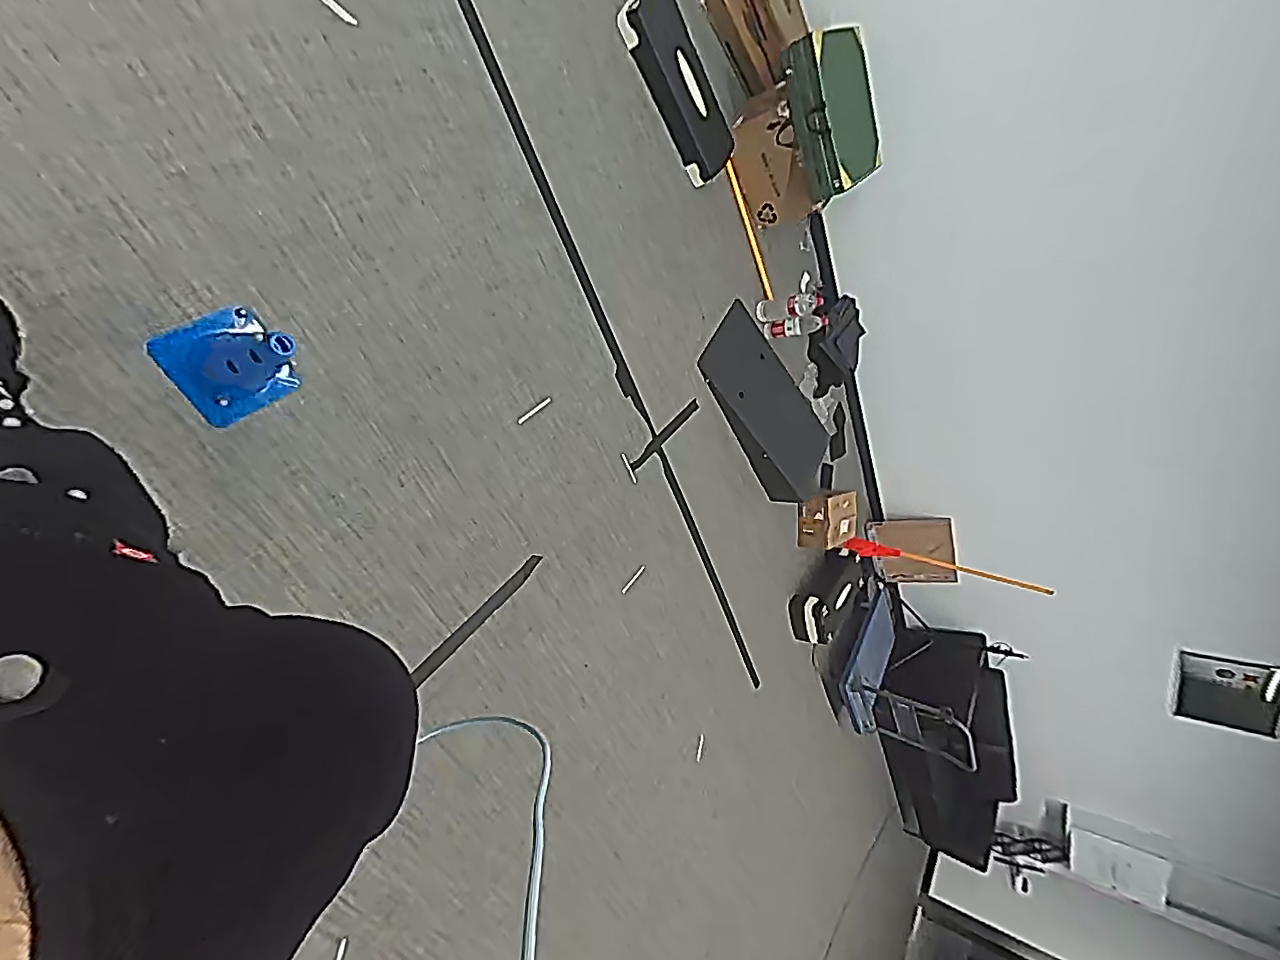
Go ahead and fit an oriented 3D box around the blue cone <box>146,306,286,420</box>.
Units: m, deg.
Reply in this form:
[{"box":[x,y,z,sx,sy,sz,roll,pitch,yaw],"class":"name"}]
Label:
[{"box":[-0.737,-0.233,1.004,0.193,0.380,0.192,-46,124,-37],"class":"blue cone"}]
